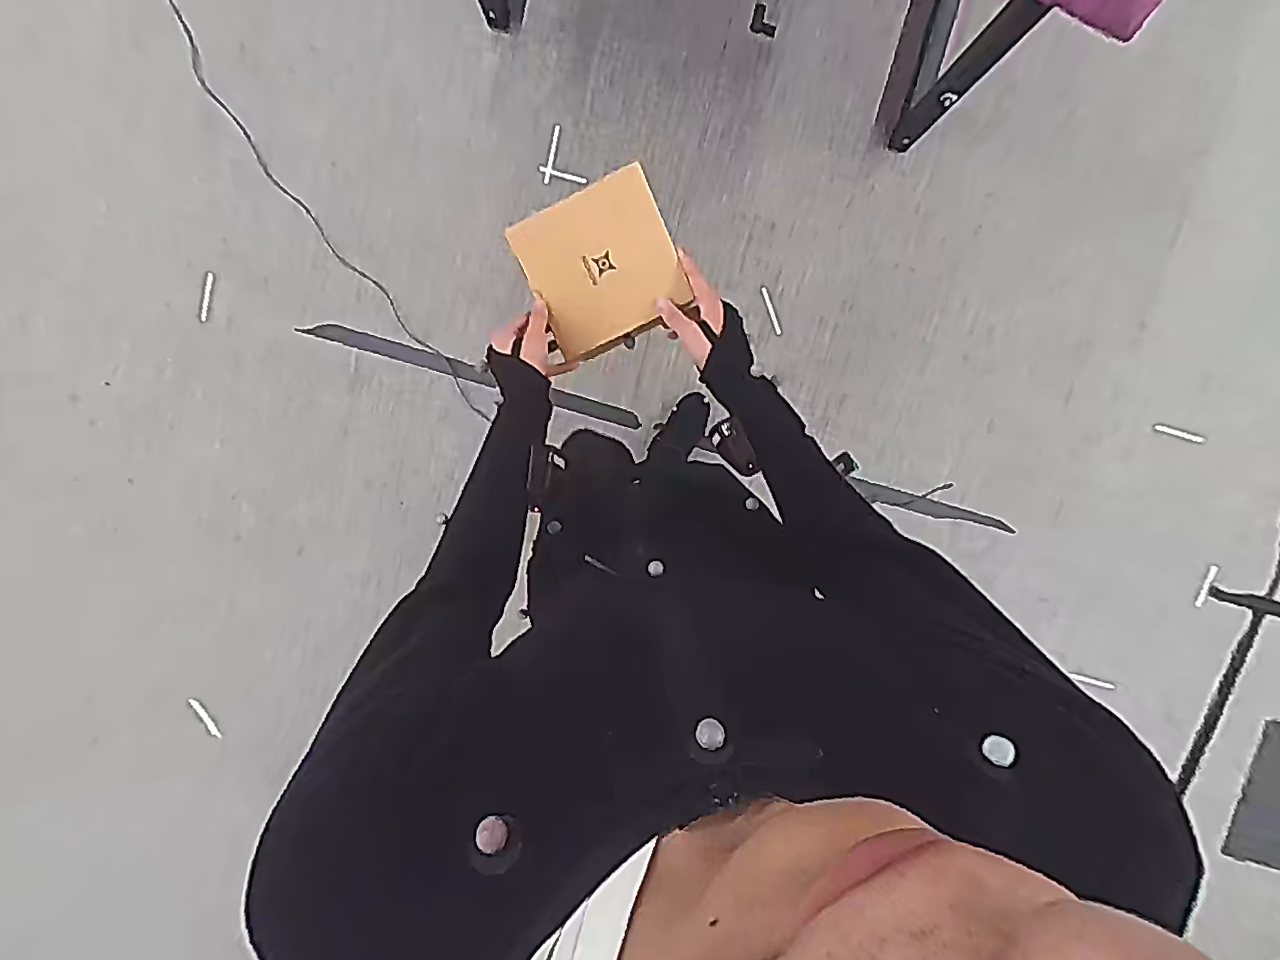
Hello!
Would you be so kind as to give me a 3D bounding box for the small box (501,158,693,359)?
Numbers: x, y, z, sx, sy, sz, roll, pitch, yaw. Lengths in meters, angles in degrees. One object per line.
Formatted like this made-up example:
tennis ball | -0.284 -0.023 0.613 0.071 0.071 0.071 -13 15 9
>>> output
small box | -0.045 -0.269 0.696 0.179 0.176 0.168 -24 101 9
